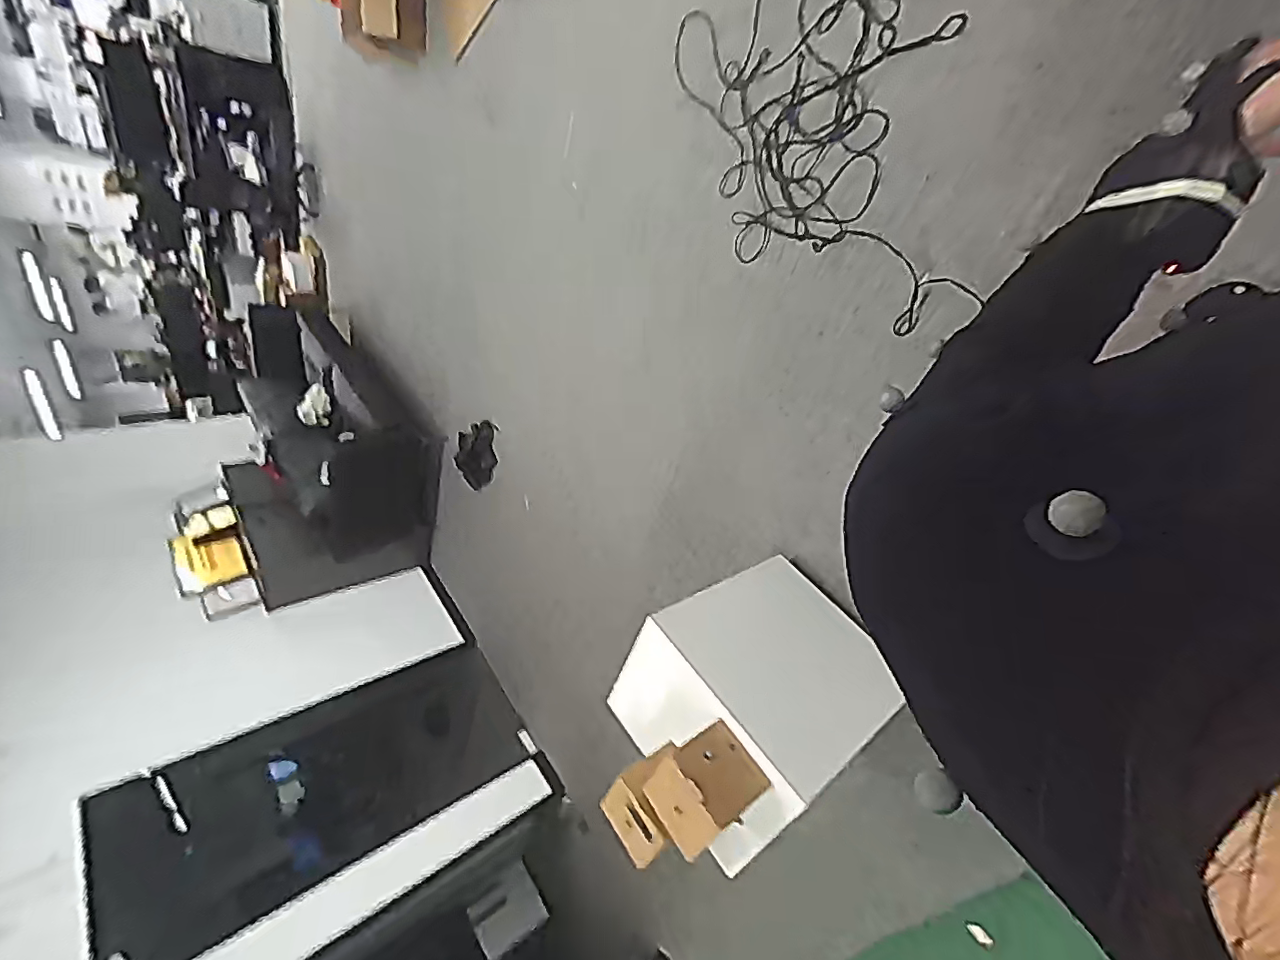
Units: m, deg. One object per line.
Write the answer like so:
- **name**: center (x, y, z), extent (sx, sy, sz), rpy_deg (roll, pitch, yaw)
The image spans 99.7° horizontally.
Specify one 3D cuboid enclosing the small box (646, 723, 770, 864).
- **small box**: center (0.146, 0.653, 1.141), extent (0.168, 0.176, 0.179), rpy_deg (47, 134, 32)
